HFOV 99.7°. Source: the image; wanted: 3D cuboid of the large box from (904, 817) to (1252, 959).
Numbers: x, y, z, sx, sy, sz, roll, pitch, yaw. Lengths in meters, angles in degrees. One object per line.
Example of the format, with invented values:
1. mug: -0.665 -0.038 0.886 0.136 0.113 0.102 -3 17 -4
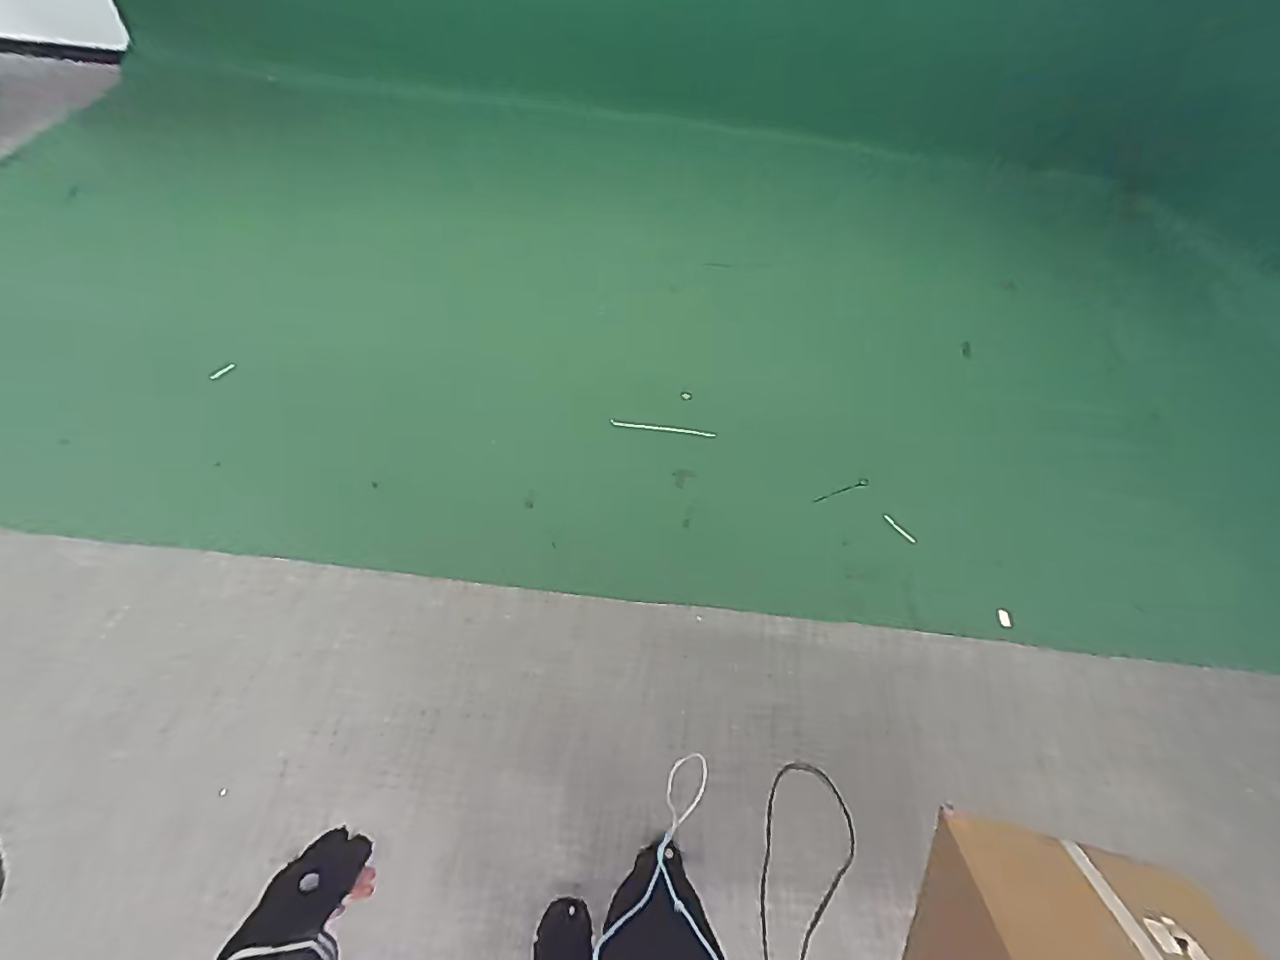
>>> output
1. large box: 0.509 0.674 0.573 0.320 0.408 0.320 12 97 11
